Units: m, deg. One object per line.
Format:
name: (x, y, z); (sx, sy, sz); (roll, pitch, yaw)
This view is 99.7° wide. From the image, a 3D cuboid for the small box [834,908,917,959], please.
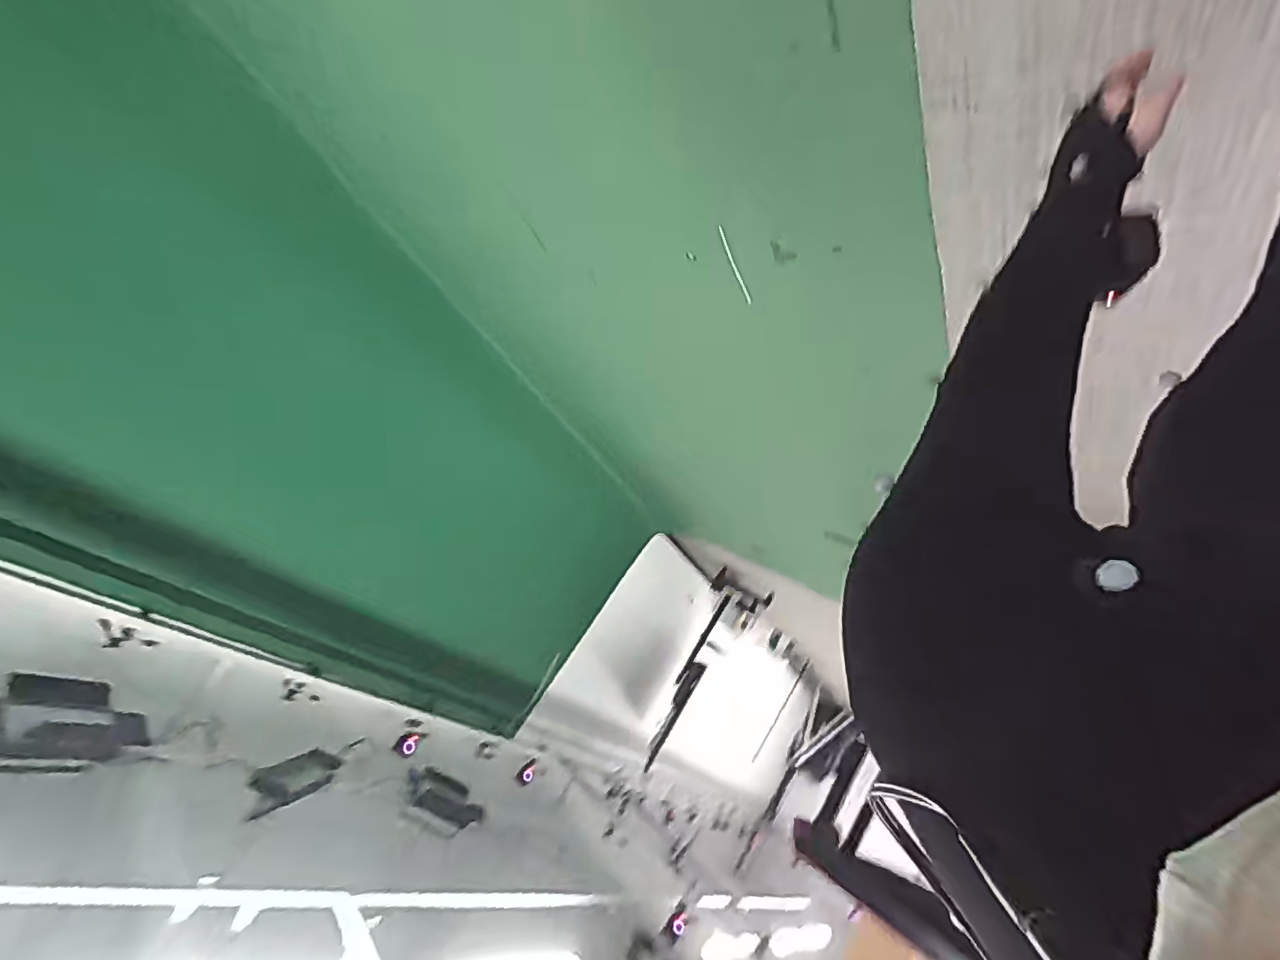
small box: (0.769, 1.539, 1.761); (0.179, 0.176, 0.168); (22, 162, 44)
